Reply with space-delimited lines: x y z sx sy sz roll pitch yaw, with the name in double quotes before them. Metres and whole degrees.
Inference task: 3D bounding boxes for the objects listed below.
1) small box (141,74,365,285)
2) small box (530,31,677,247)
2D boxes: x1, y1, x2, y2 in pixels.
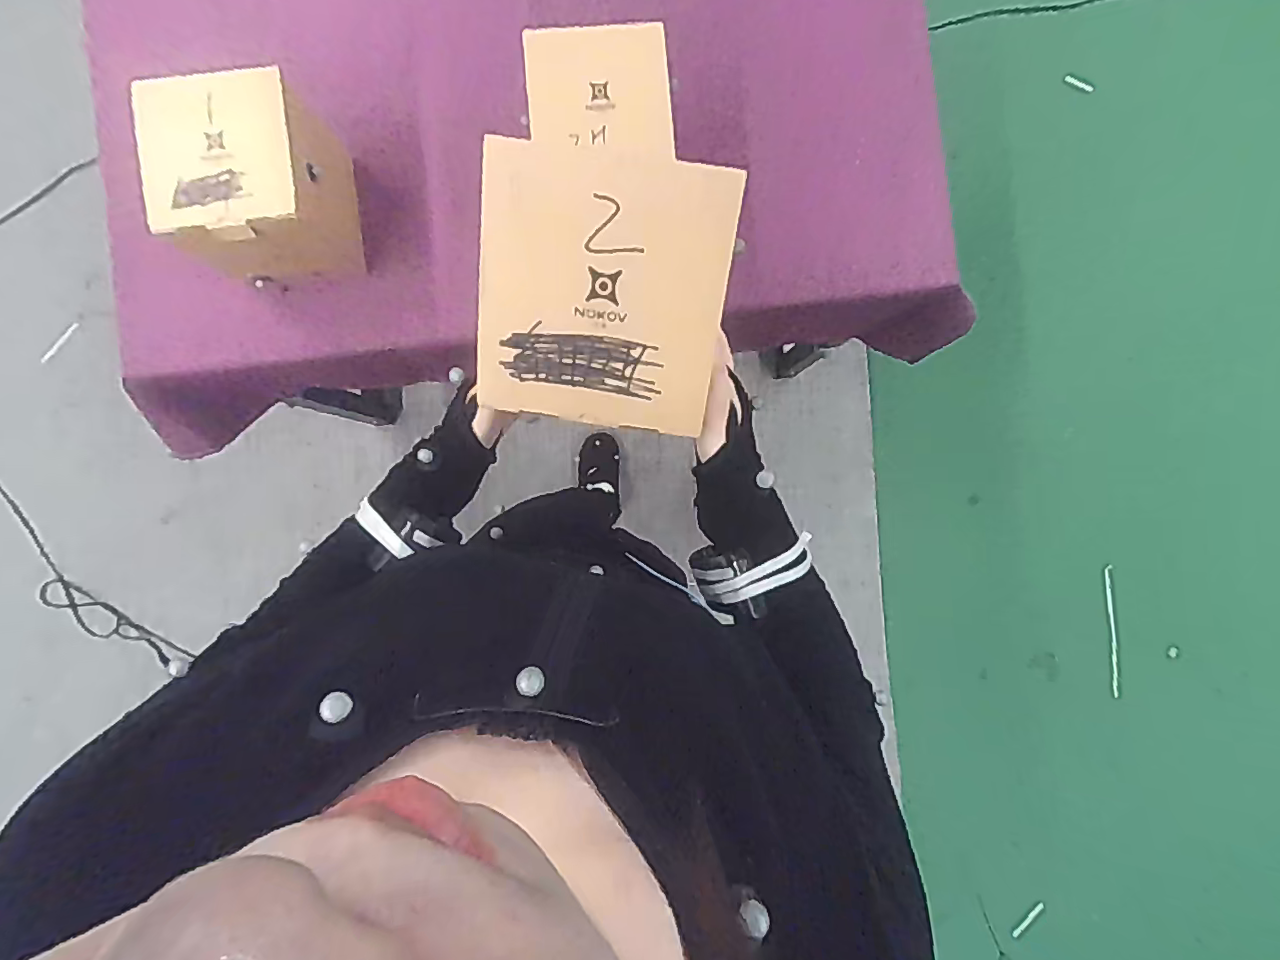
"small box" -0.474 -0.364 0.691 0.168 0.176 0.179 -8 88 -2
"small box" -0.045 -0.429 0.704 0.168 0.176 0.179 -4 89 -1
